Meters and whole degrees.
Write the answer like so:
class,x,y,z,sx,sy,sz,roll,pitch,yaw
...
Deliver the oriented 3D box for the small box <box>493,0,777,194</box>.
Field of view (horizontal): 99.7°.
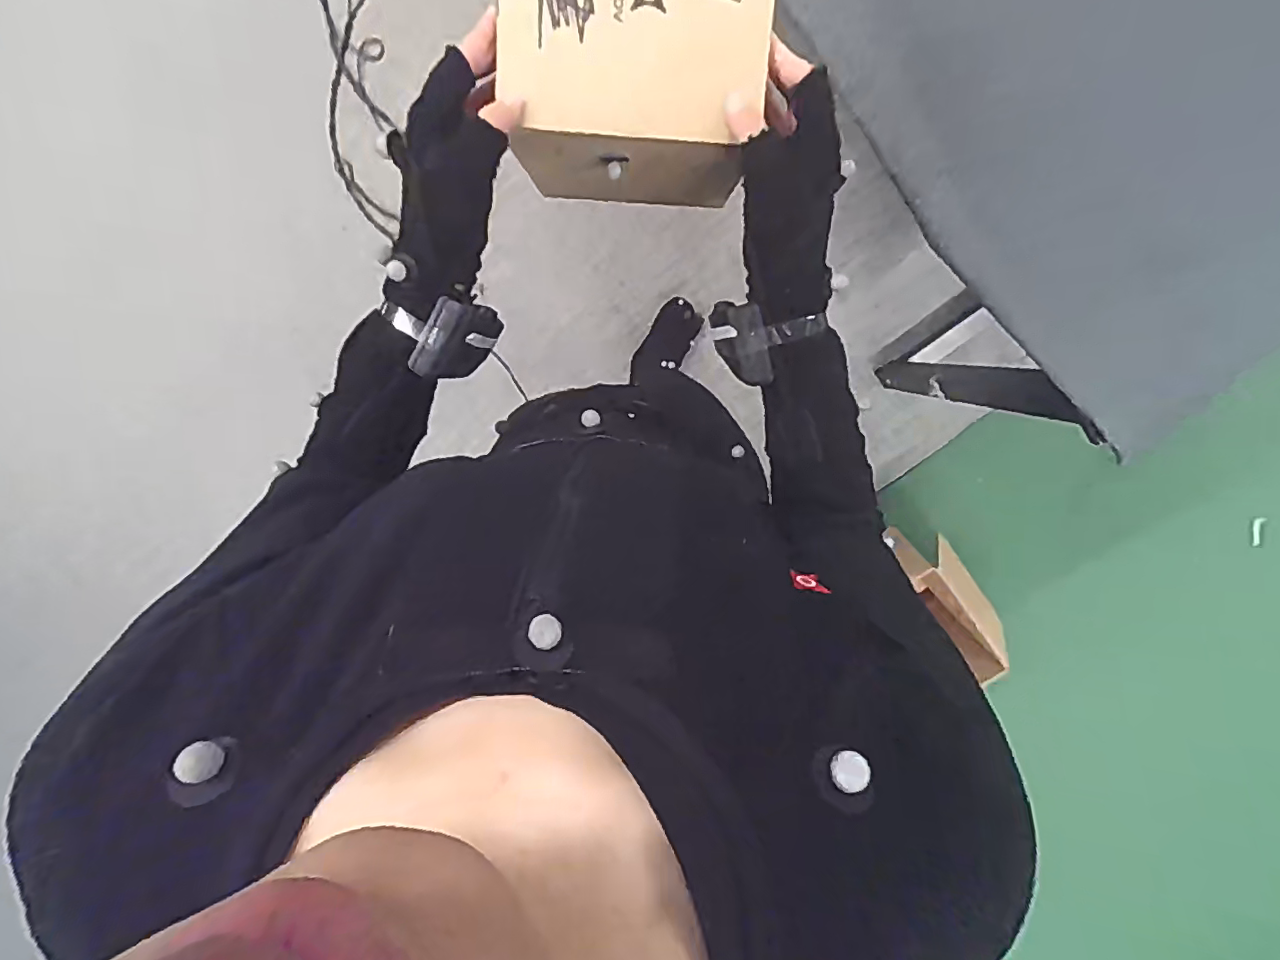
class,x,y,z,sx,sy,sz,roll,pitch,yaw
small box,-0.001,-0.328,0.404,0.179,0.176,0.168,4,104,-2
